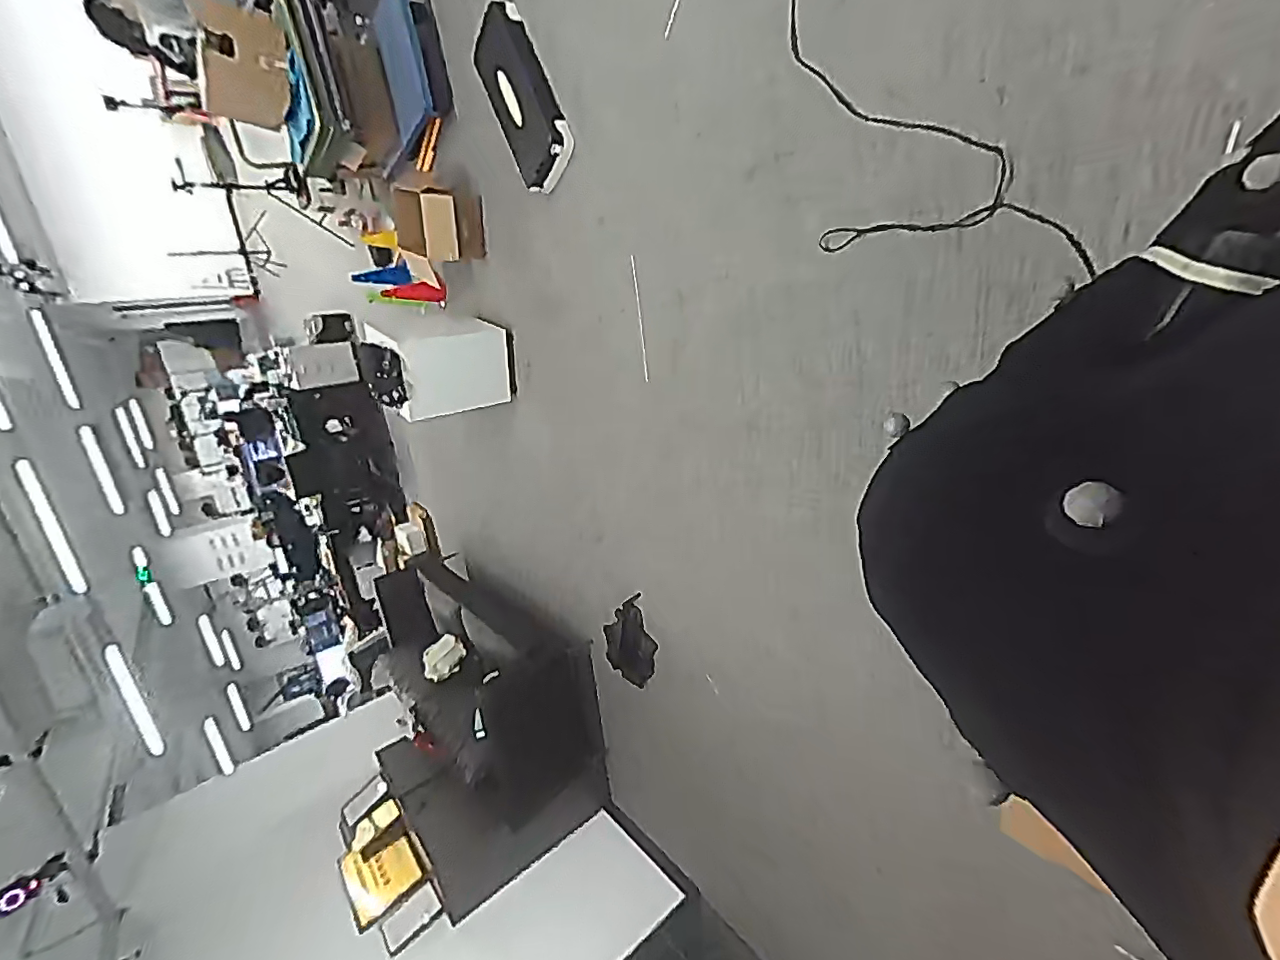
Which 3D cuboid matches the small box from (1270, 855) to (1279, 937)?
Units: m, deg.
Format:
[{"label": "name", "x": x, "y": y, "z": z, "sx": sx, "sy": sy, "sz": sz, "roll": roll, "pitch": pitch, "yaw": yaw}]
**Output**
[{"label": "small box", "x": 1.223, "y": 0.712, "z": 0.922, "sx": 0.168, "sy": 0.176, "sz": 0.179, "roll": 11, "pitch": 114, "yaw": 49}]
